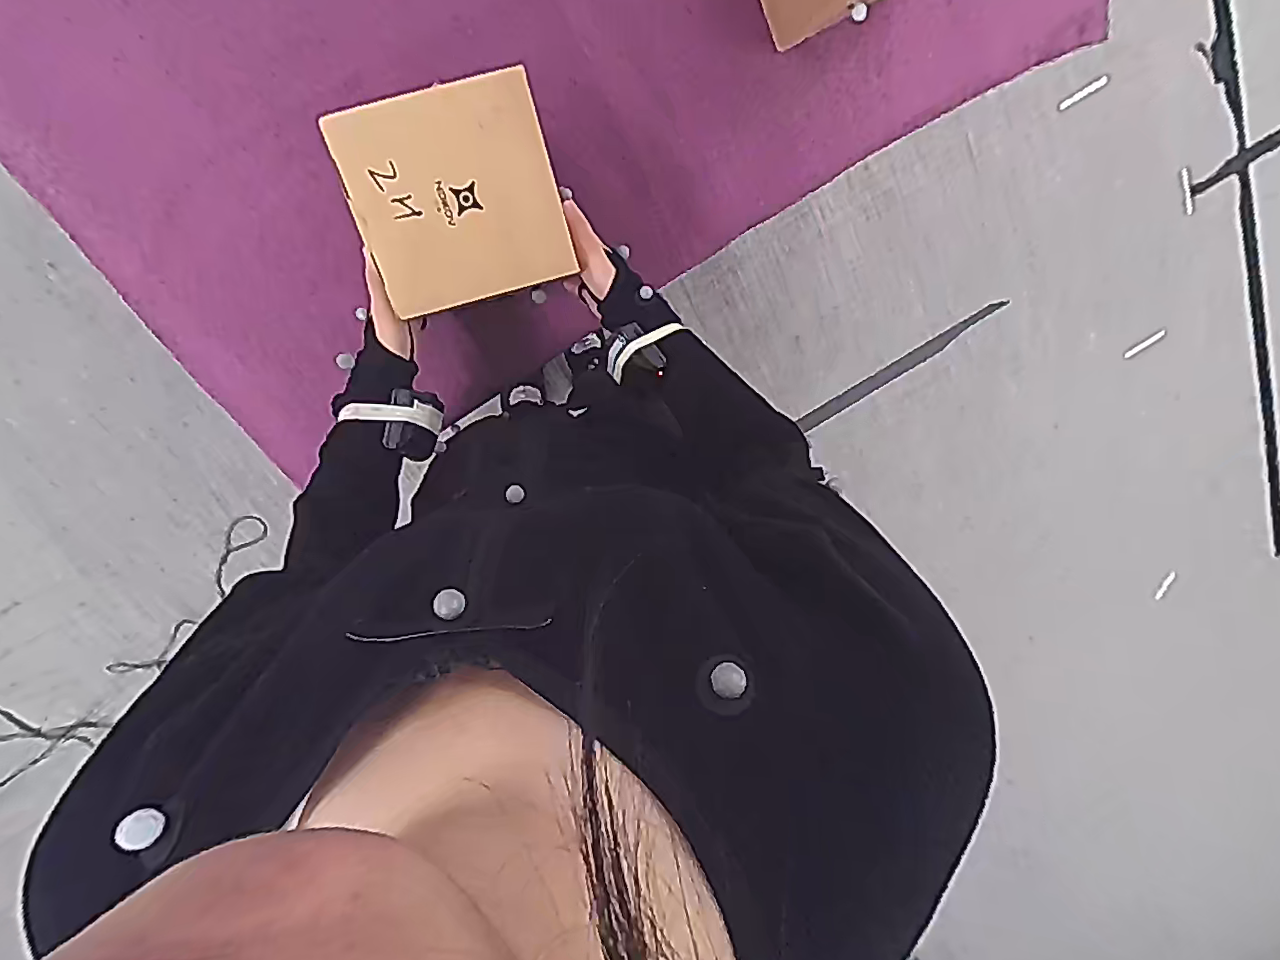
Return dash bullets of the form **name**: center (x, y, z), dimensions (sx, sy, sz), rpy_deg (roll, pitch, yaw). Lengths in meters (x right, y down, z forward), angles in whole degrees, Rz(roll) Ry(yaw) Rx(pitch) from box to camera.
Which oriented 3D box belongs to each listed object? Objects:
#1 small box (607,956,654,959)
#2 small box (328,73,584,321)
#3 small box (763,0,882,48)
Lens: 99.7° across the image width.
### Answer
- **small box**: center (-0.034, 1.585, 1.630), dimensions (0.179, 0.176, 0.168), rpy_deg (16, 102, -14)
- **small box**: center (-0.163, -0.266, 0.541), dimensions (0.179, 0.176, 0.168), rpy_deg (-15, 110, -2)
- **small box**: center (0.213, -0.593, 0.539), dimensions (0.168, 0.176, 0.179), rpy_deg (-29, 111, -1)
